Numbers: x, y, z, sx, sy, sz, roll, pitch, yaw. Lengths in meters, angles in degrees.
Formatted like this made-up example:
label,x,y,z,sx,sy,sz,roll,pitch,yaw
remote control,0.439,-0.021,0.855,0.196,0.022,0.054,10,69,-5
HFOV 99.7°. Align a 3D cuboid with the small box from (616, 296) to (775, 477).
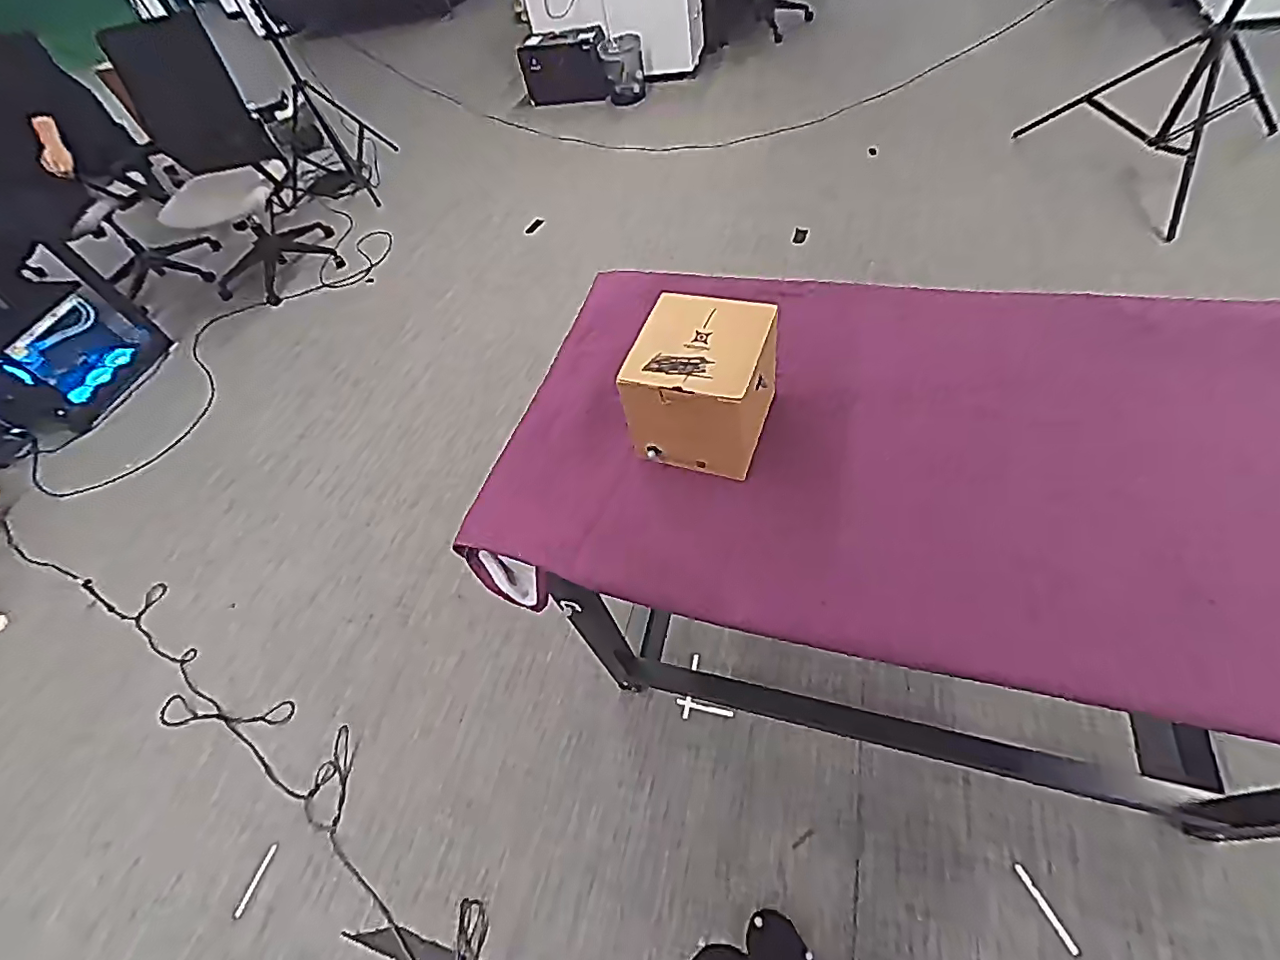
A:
label,x,y,z,sx,sy,sz,roll,pitch,yaw
small box,0.087,-0.128,0.758,0.168,0.176,0.179,13,59,19
